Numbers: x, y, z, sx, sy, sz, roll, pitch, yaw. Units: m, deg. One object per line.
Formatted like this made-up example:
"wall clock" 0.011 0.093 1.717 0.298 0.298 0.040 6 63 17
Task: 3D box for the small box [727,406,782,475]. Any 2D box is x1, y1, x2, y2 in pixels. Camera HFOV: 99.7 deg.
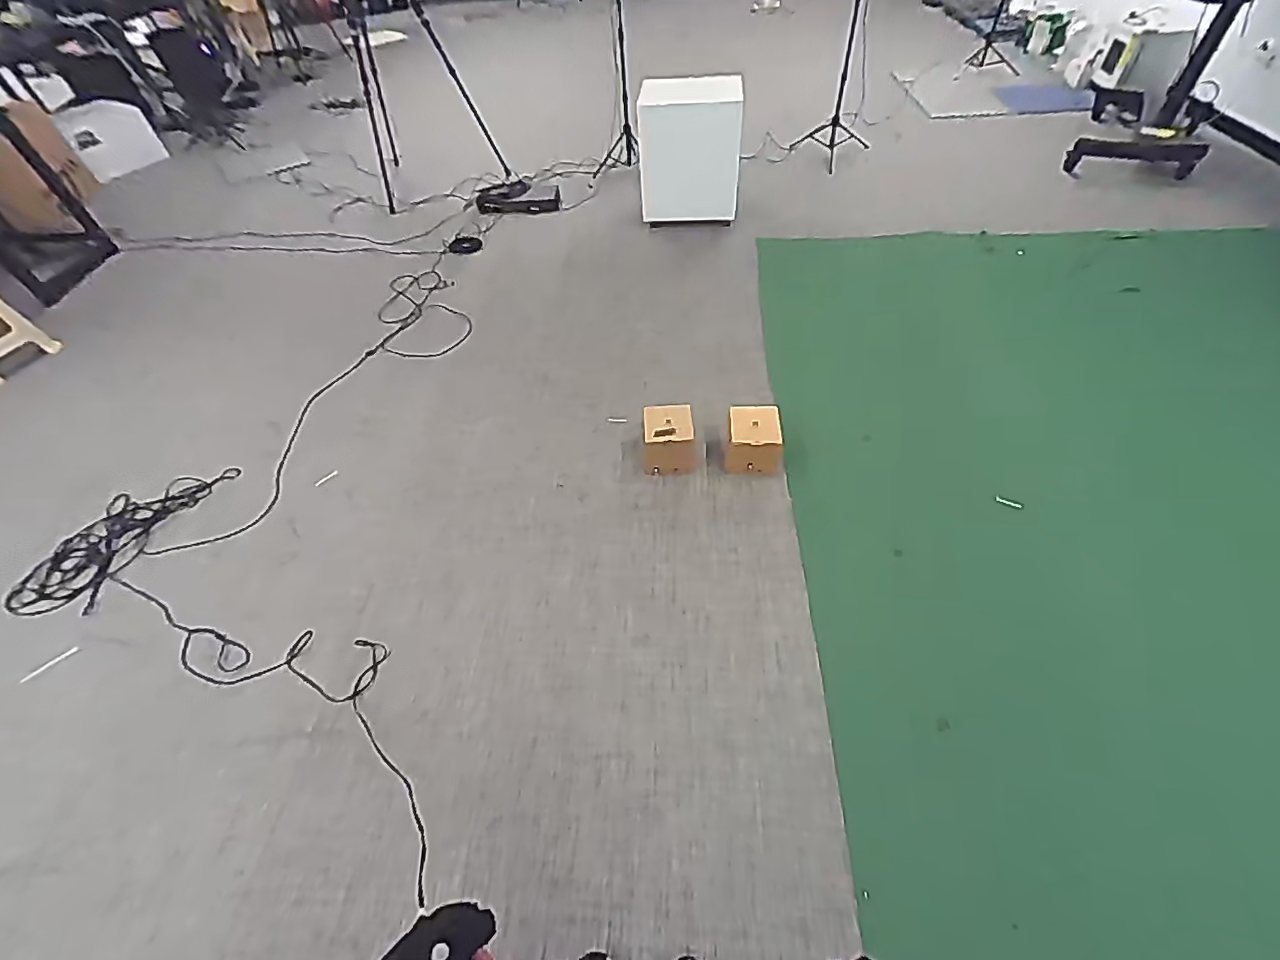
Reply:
"small box" 0.393 -0.138 1.884 0.168 0.176 0.179 0 51 4

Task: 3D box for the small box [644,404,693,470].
"small box" 0.101 -0.146 1.907 0.168 0.176 0.179 -3 50 1
